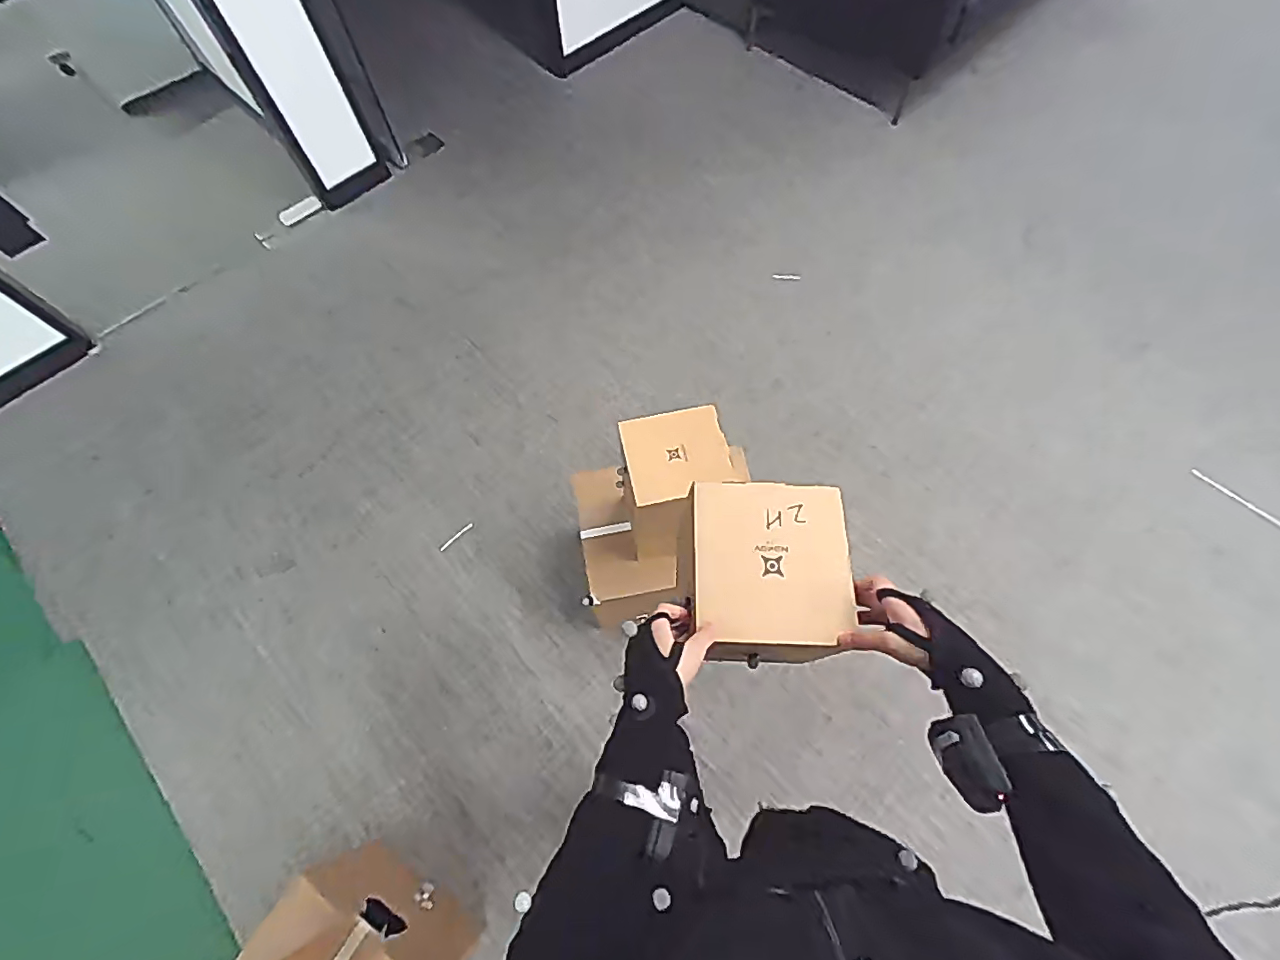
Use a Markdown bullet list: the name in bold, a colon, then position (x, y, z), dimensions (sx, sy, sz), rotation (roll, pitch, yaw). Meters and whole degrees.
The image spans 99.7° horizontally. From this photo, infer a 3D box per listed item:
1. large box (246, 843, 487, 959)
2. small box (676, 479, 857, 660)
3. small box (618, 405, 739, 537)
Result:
- **large box**: position (-0.553, 0.978, 0.985), dimensions (0.320, 0.320, 0.408), rotation (28, 70, 15)
- **small box**: position (0.133, 0.113, 0.636), dimensions (0.168, 0.176, 0.179), rotation (2, 65, -2)
- **small box**: position (0.065, -0.009, 0.979), dimensions (0.179, 0.176, 0.168), rotation (-11, 65, -5)
